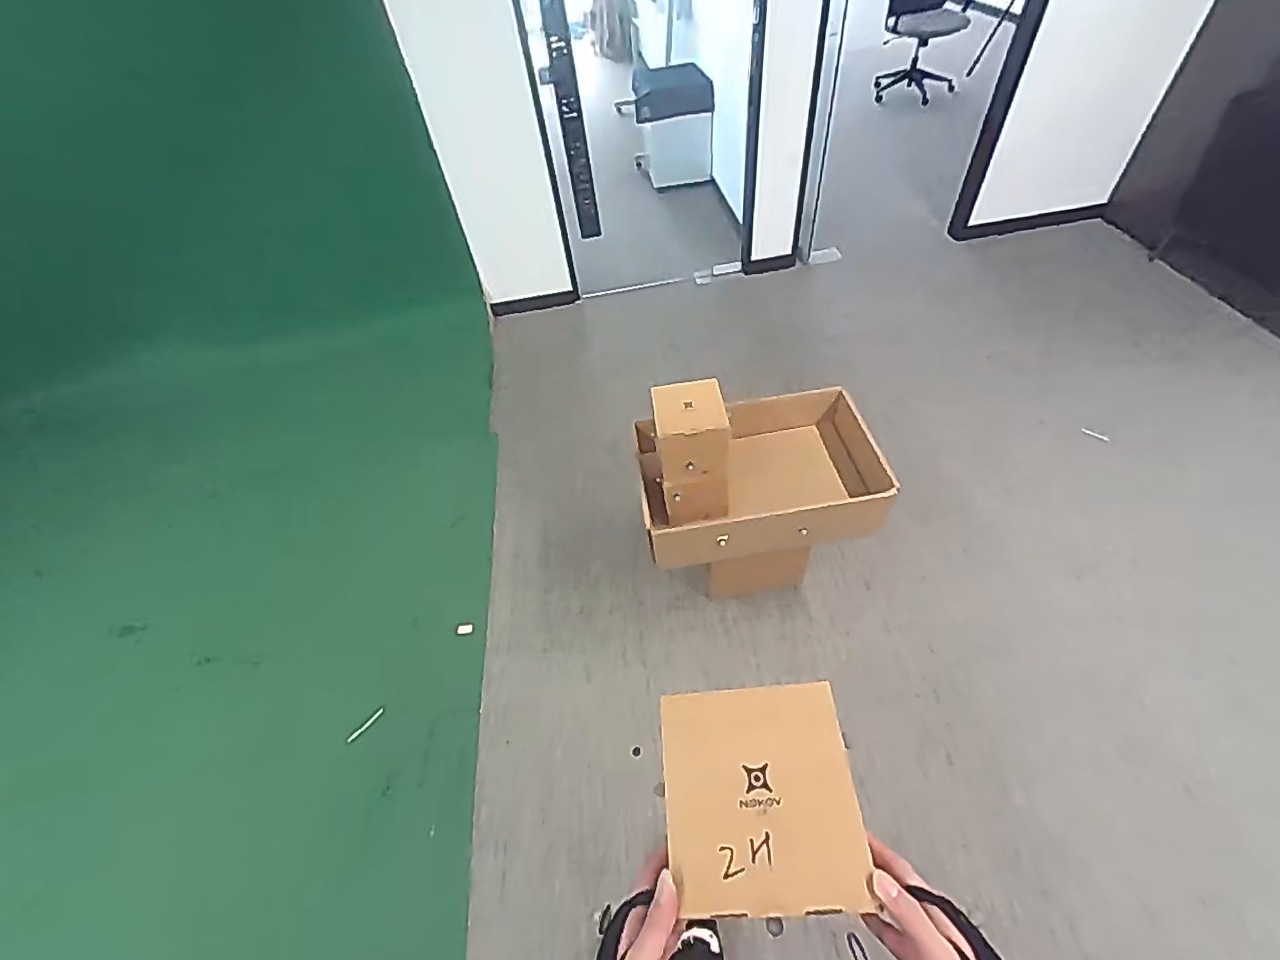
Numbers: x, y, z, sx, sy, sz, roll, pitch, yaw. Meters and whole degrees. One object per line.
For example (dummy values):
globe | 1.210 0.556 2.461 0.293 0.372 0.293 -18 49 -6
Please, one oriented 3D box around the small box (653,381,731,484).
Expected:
small box | 0.124 -0.115 1.325 0.168 0.176 0.179 -8 48 1

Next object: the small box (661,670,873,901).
small box | 0.113 0.309 0.541 0.168 0.176 0.179 -7 52 7
